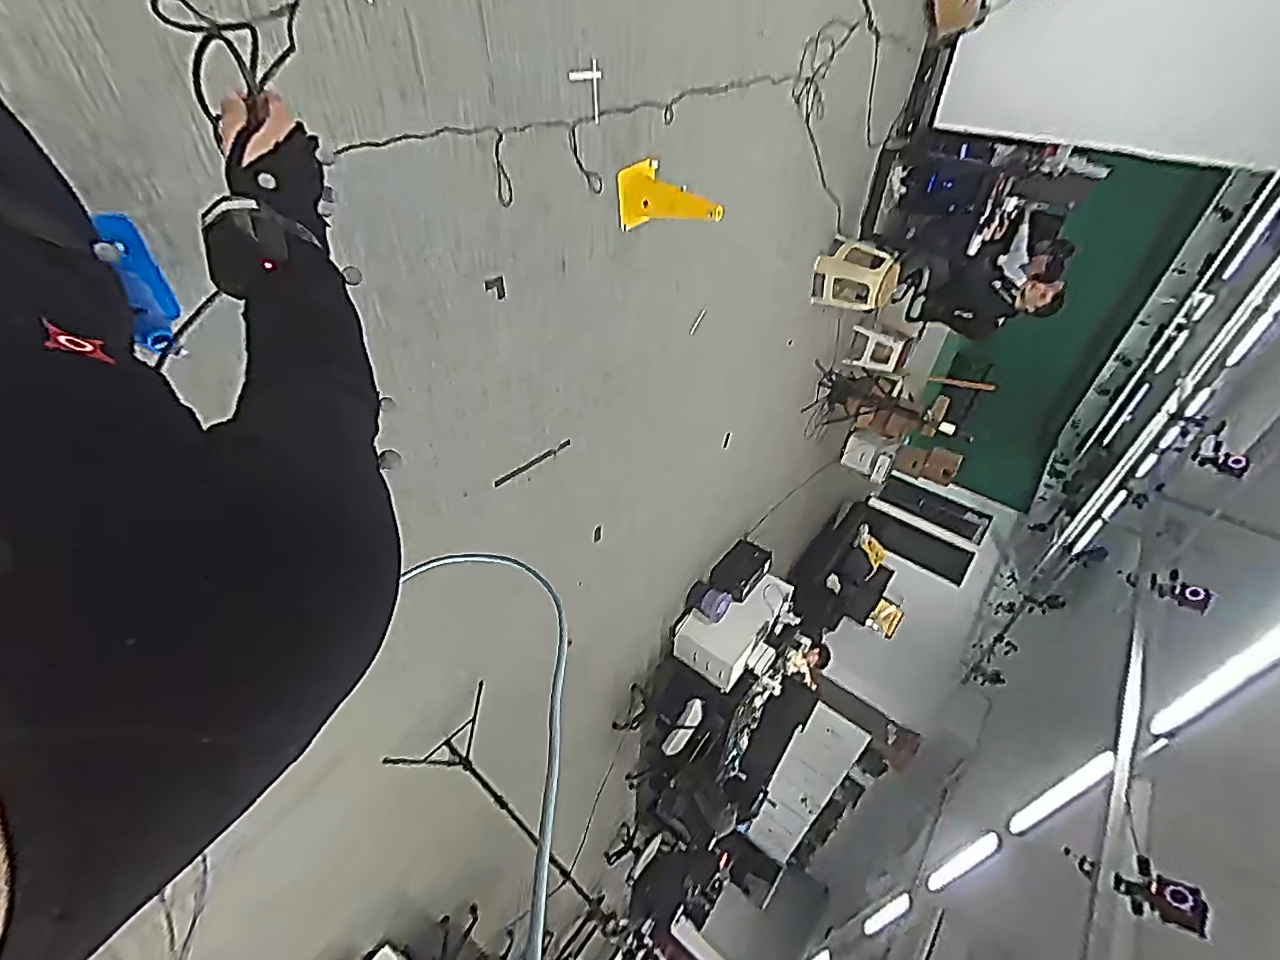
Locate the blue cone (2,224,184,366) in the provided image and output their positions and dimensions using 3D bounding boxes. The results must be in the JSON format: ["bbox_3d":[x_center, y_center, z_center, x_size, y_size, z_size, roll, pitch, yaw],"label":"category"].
[{"bbox_3d":[-0.855,-0.279,0.899,0.193,0.380,0.192,-37,145,-38],"label":"blue cone"}]
